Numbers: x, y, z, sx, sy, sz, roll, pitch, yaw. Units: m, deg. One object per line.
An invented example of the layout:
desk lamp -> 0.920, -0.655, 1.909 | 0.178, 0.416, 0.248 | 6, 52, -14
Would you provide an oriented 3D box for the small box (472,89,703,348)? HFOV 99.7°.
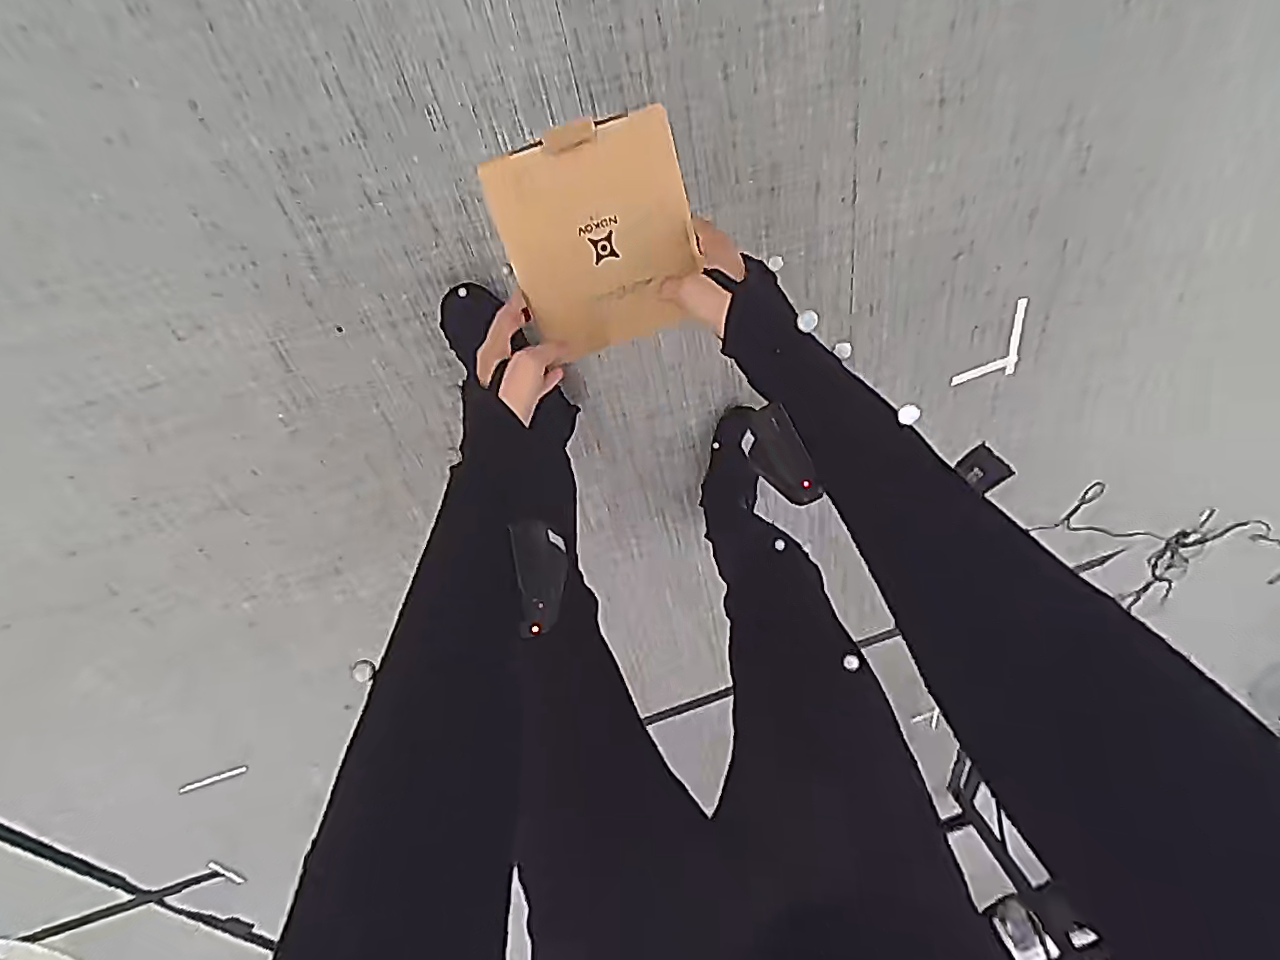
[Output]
small box -> -0.052, -0.253, 0.553 | 0.168, 0.176, 0.179 | -19, 114, 0
